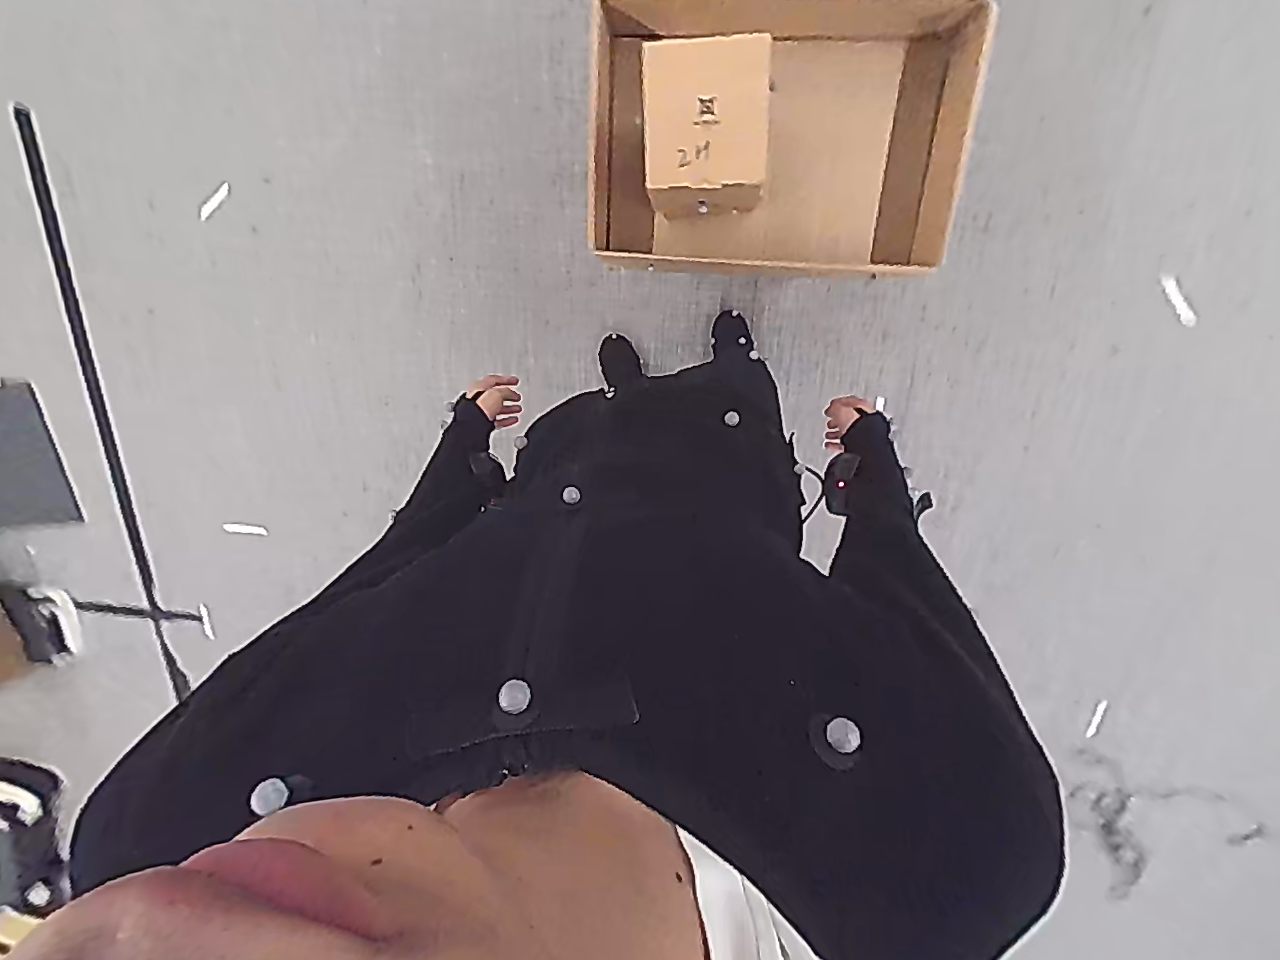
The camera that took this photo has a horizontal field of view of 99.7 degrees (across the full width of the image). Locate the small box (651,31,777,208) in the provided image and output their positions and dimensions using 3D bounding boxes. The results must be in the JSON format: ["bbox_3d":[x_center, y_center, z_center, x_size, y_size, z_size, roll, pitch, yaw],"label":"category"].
[{"bbox_3d":[0.101,-0.513,0.794,0.168,0.176,0.179,0,108,5],"label":"small box"}]
